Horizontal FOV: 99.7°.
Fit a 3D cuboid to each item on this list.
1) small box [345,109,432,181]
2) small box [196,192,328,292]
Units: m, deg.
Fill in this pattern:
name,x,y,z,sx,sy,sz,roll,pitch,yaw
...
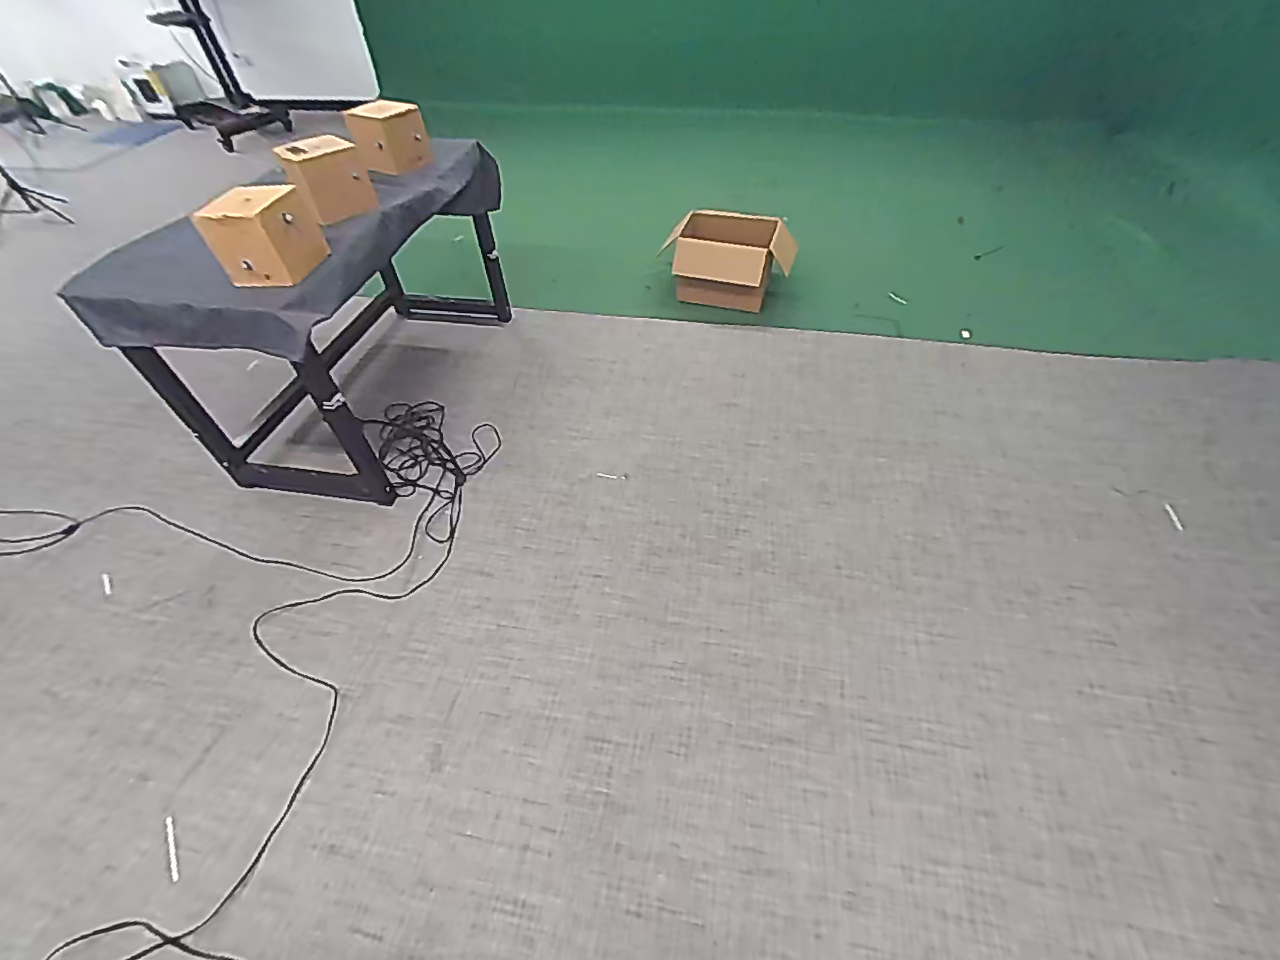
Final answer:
name,x,y,z,sx,sy,sz,roll,pitch,yaw
small box,-0.835,-1.122,1.814,0.179,0.176,0.168,20,50,21
small box,-0.897,-0.576,1.308,0.168,0.176,0.179,2,48,8
